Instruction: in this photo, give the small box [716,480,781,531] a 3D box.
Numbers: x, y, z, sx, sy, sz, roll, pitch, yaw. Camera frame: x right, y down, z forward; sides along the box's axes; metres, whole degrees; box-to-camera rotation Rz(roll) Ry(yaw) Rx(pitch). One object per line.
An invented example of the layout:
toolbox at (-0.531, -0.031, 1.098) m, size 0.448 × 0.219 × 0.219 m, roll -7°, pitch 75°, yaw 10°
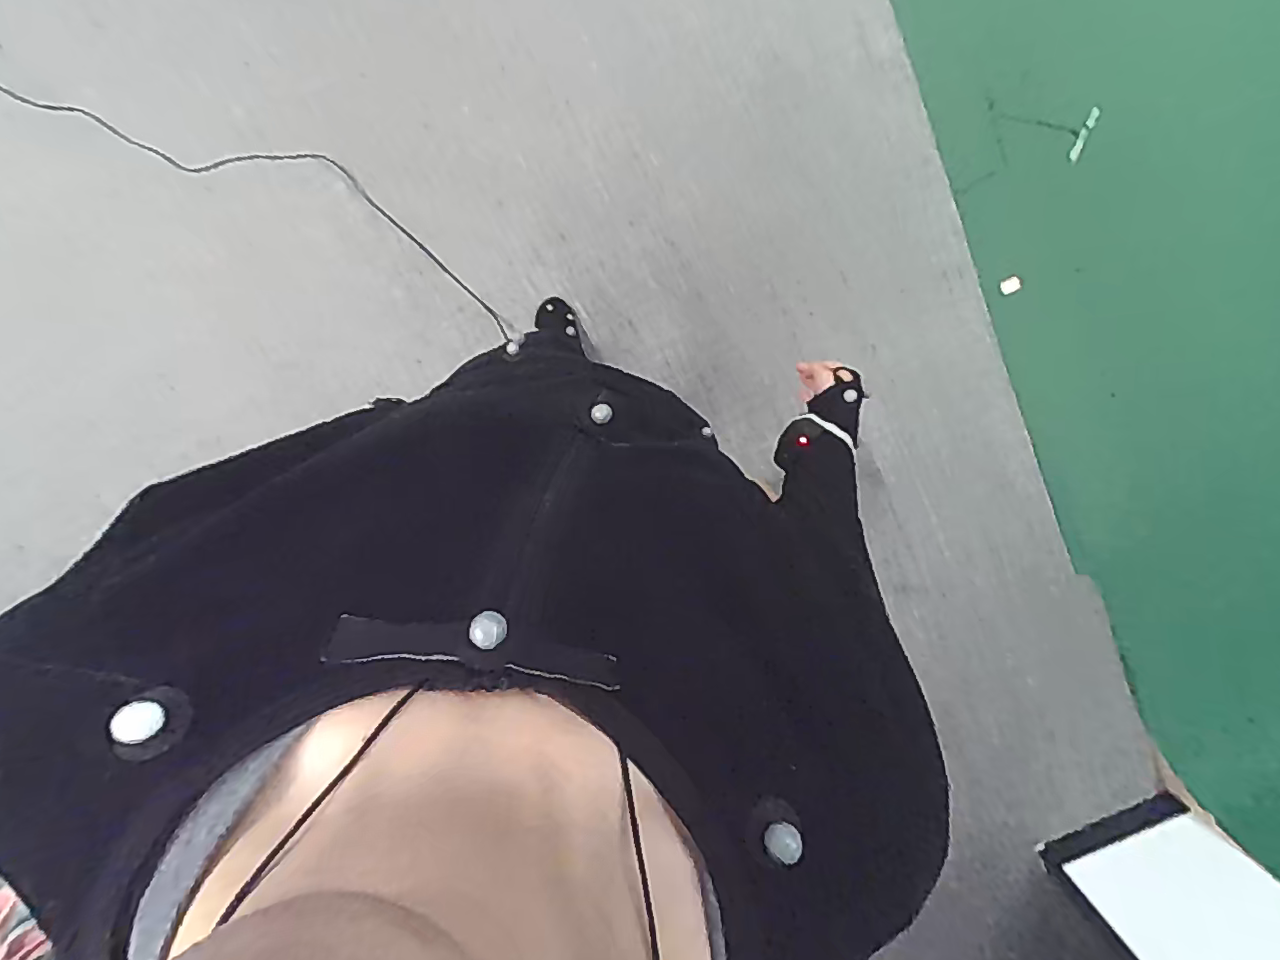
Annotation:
small box at (0.320, 0.122, 1.475) m, size 0.179 × 0.176 × 0.168 m, roll -31°, pitch 102°, yaw 5°
